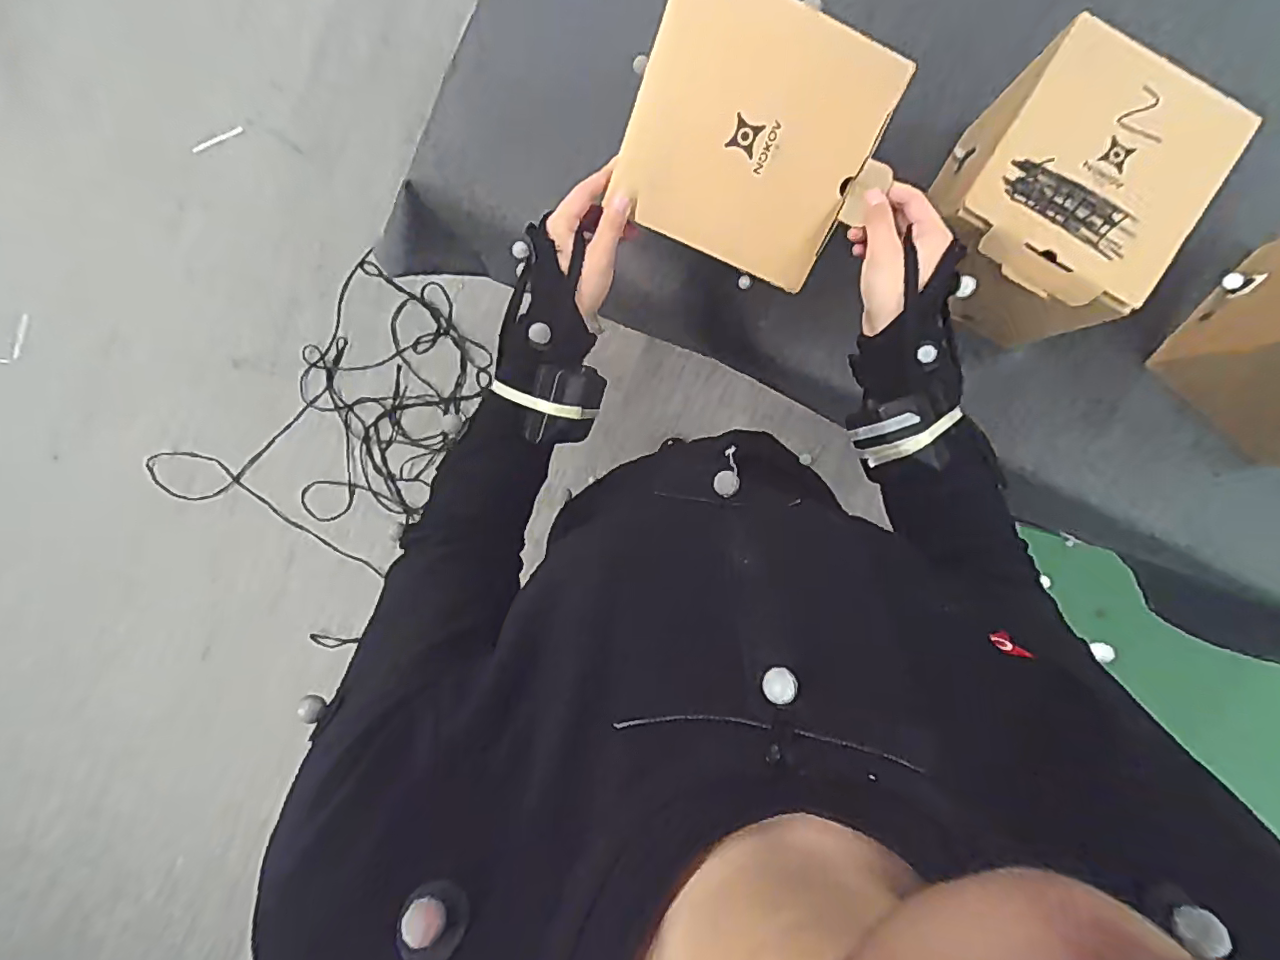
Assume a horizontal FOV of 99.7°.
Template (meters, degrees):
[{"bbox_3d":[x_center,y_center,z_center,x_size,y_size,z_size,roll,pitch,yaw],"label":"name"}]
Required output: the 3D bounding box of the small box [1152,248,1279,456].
[{"bbox_3d":[0.667,-0.128,0.507,0.179,0.176,0.168,41,95,0],"label":"small box"}]
